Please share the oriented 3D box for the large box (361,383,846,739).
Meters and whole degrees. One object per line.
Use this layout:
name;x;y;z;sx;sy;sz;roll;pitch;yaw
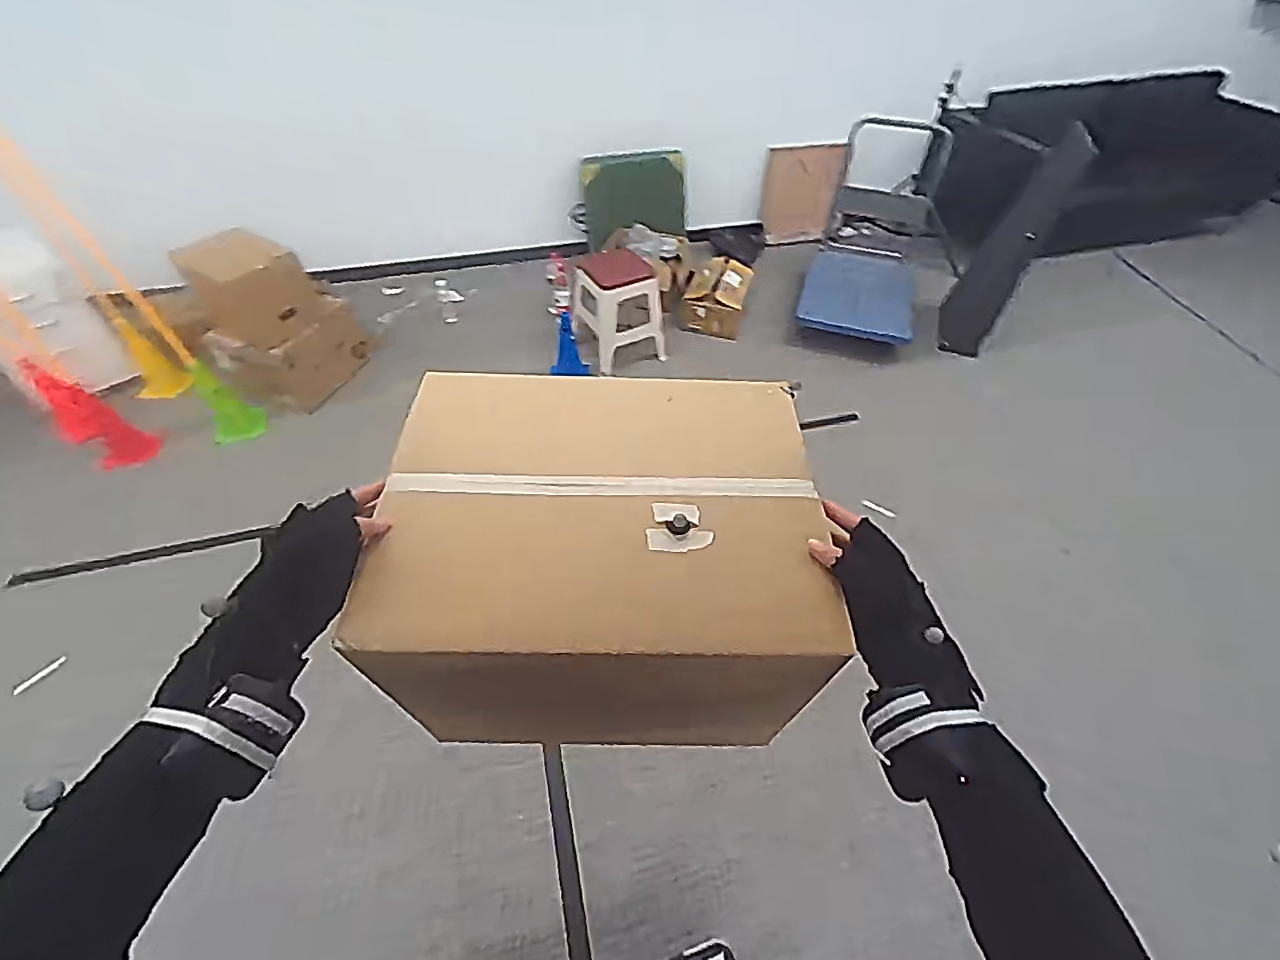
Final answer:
large box;-0.035;0.107;0.643;0.408;0.320;0.320;2;53;-2
